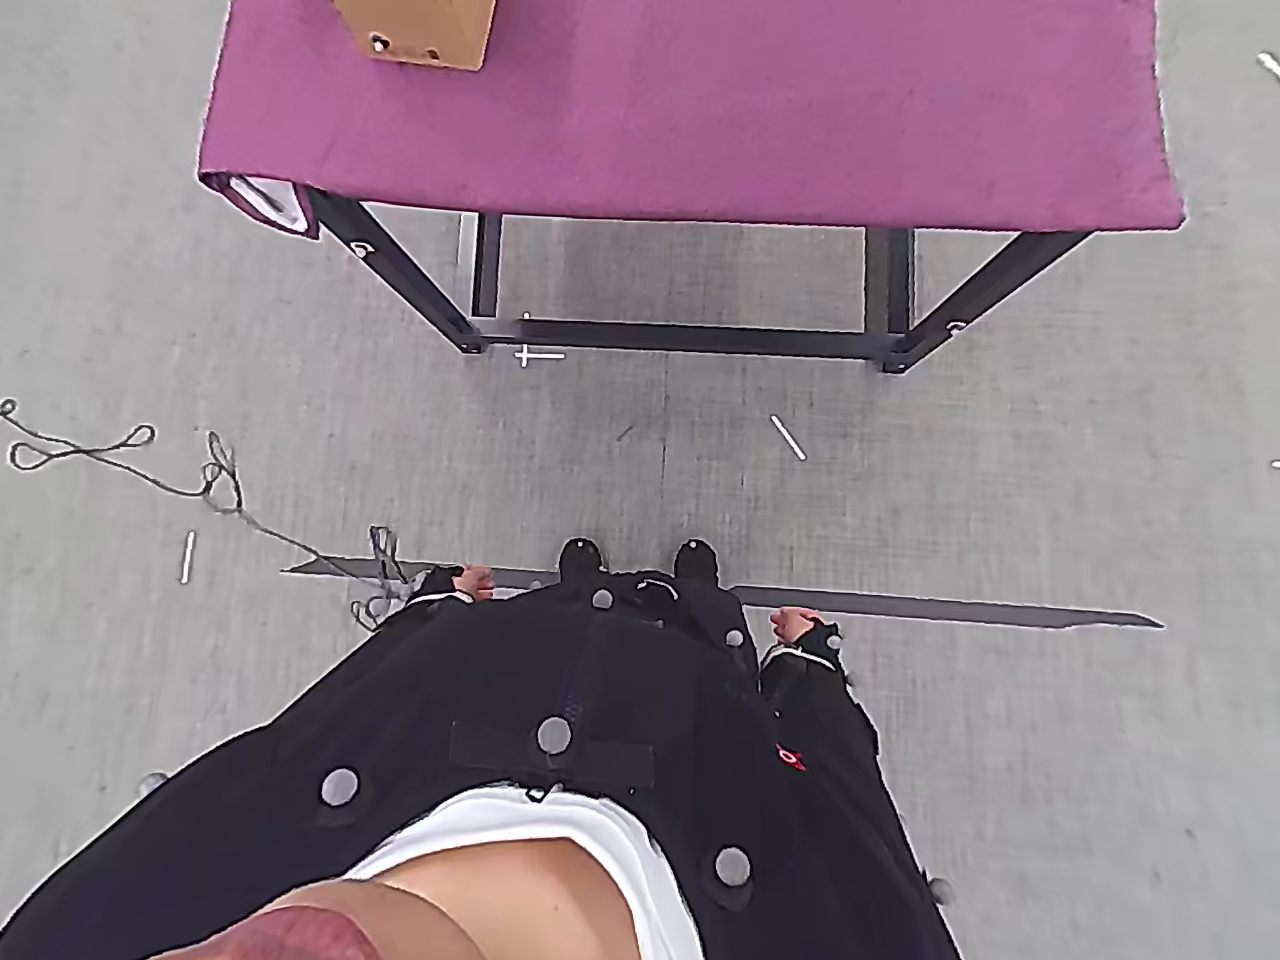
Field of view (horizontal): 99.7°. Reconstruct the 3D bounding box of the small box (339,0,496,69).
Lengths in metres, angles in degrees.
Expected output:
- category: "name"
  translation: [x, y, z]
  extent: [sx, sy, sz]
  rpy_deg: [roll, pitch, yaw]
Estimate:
- category: "small box"
  translation: [-0.292, -0.677, 0.693]
  extent: [0.168, 0.176, 0.179]
  rpy_deg: [9, 84, 3]
